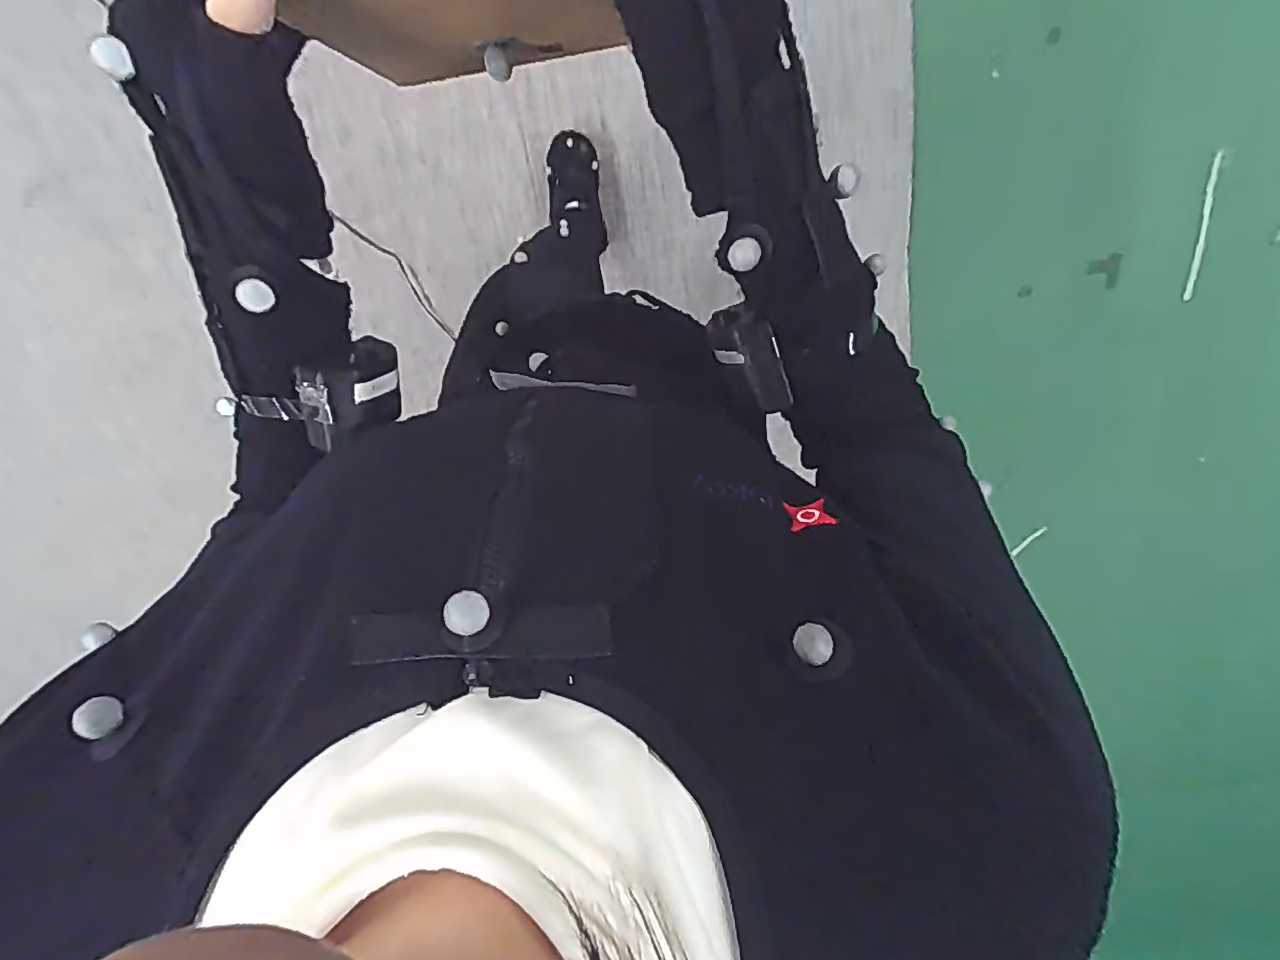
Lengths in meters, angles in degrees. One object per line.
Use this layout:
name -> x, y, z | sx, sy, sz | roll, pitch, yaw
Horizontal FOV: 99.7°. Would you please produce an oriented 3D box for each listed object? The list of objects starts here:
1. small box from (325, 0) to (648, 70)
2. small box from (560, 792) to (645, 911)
small box -> -0.086, -0.311, 0.228 | 0.168, 0.176, 0.179 | -7, 115, 5
small box -> -0.085, 0.908, 1.329 | 0.168, 0.176, 0.179 | -14, 112, 5
